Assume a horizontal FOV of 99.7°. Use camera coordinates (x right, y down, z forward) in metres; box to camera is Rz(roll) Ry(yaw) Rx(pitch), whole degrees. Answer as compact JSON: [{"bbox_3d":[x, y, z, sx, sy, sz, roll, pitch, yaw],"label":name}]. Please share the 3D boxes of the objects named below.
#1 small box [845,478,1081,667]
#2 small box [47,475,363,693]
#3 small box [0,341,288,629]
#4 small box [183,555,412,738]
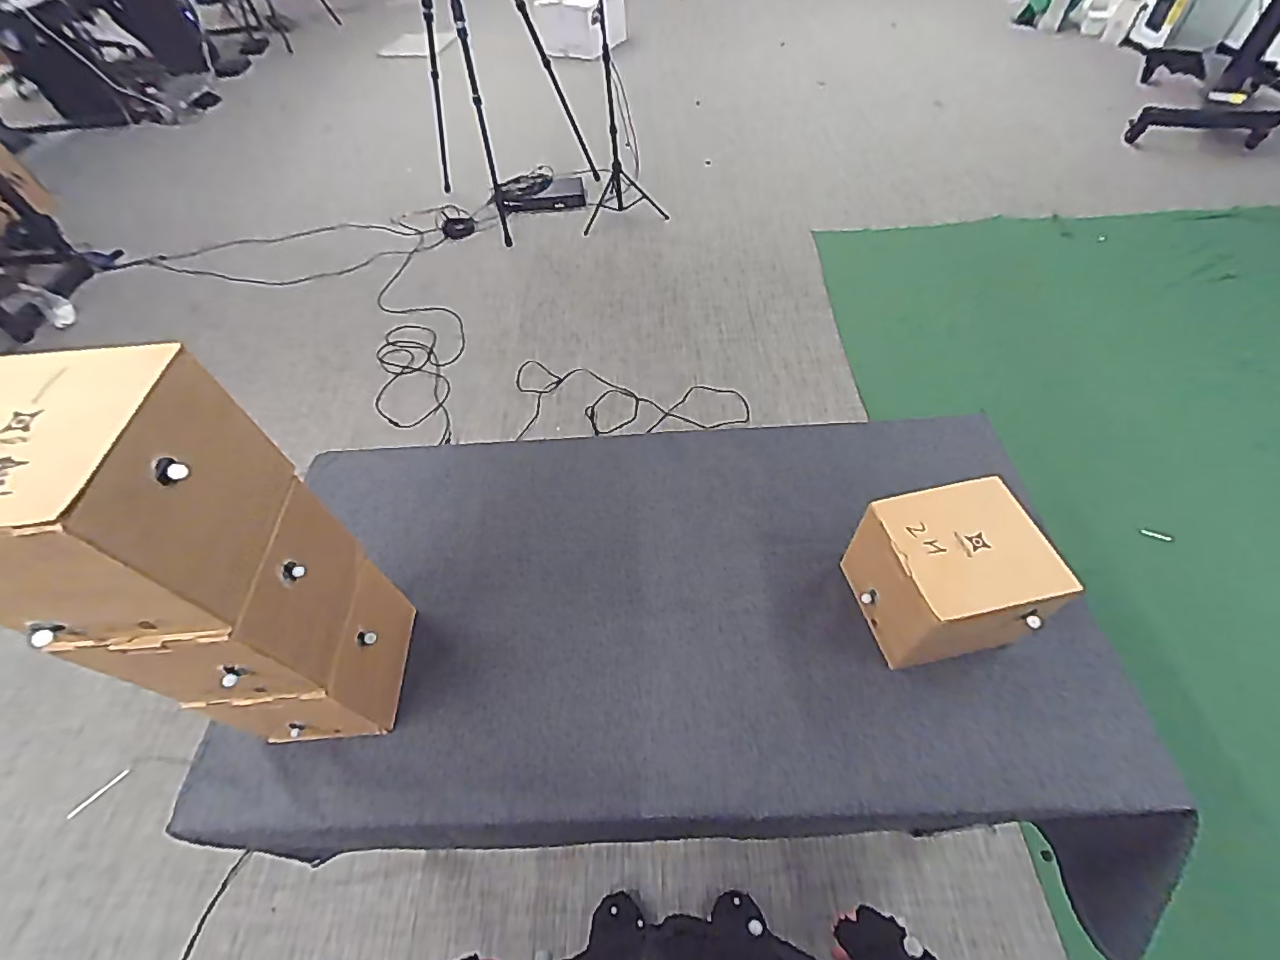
[{"bbox_3d":[0.394,0.123,0.700,0.179,0.176,0.168,-11,53,-3],"label":"small box"},{"bbox_3d":[-0.424,0.116,0.571,0.168,0.176,0.179,-3,53,0],"label":"small box"},{"bbox_3d":[-0.433,0.012,0.445,0.168,0.176,0.179,-4,53,-1],"label":"small box"},{"bbox_3d":[-0.416,0.217,0.699,0.168,0.176,0.179,-5,53,1],"label":"small box"}]
